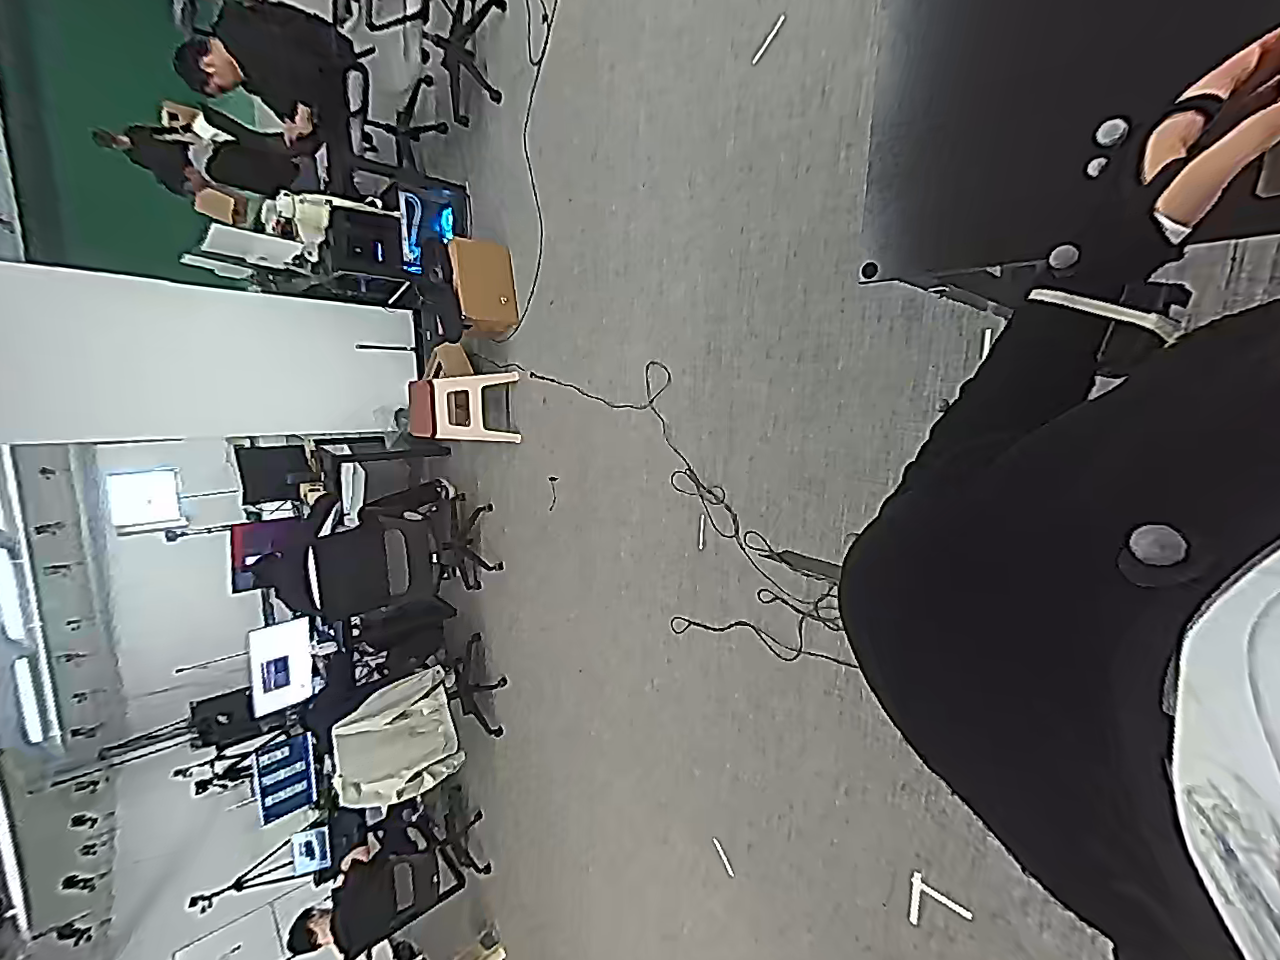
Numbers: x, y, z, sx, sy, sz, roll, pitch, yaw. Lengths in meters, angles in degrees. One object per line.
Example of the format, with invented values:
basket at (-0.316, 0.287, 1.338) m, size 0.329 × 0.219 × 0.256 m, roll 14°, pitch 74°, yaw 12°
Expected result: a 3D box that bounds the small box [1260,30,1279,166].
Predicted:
small box at (0.493, -0.298, 0.306) m, size 0.168 × 0.176 × 0.179 m, roll 12°, pitch 106°, yaw 47°
